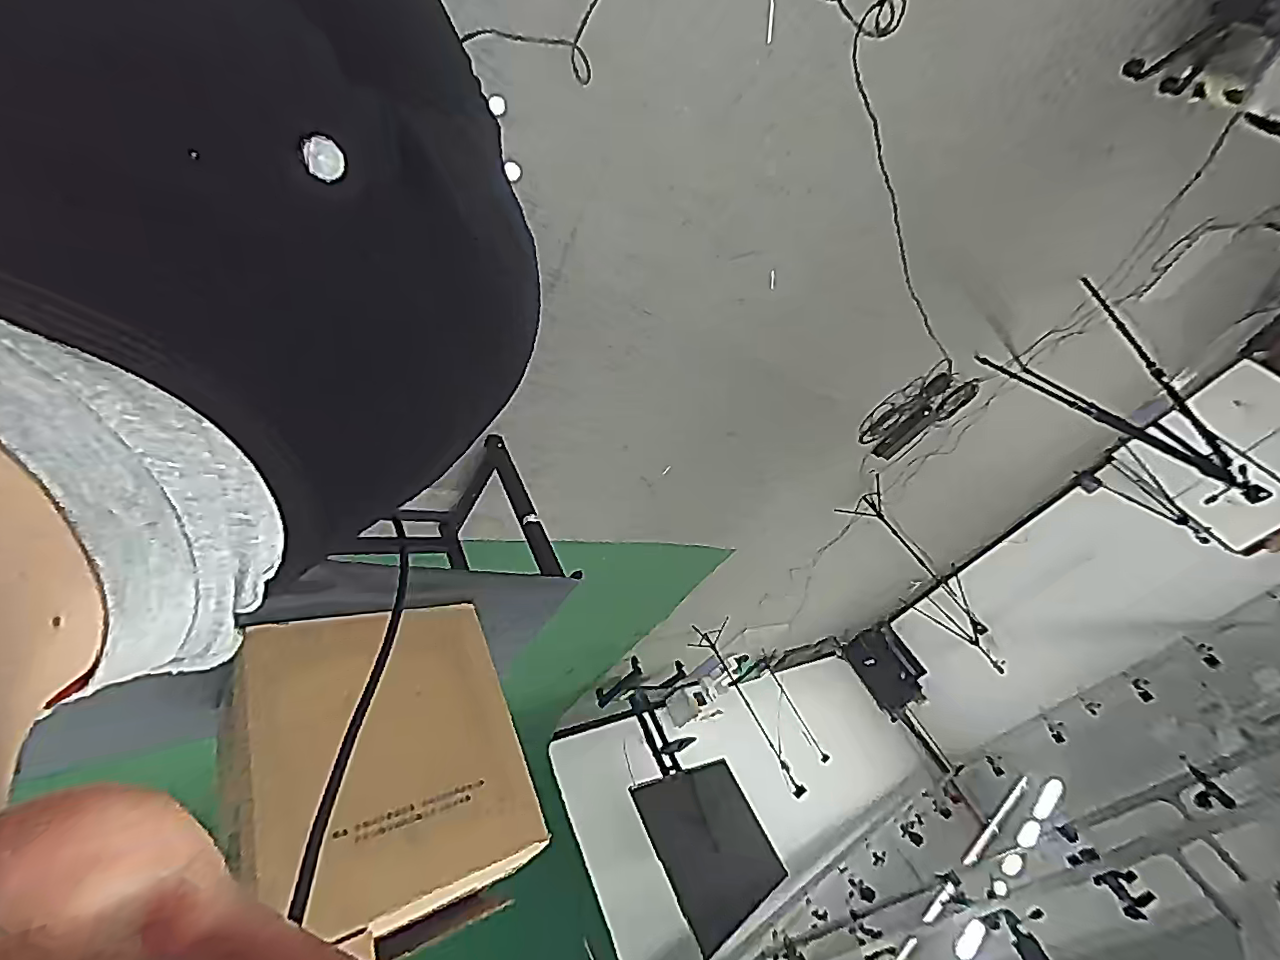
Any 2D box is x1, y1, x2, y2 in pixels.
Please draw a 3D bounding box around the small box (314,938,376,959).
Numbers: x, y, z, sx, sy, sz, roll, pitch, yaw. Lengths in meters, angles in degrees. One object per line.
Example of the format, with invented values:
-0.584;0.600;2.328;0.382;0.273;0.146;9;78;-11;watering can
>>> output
-0.530;0.902;0.888;0.168;0.176;0.179;5;131;-42;small box
